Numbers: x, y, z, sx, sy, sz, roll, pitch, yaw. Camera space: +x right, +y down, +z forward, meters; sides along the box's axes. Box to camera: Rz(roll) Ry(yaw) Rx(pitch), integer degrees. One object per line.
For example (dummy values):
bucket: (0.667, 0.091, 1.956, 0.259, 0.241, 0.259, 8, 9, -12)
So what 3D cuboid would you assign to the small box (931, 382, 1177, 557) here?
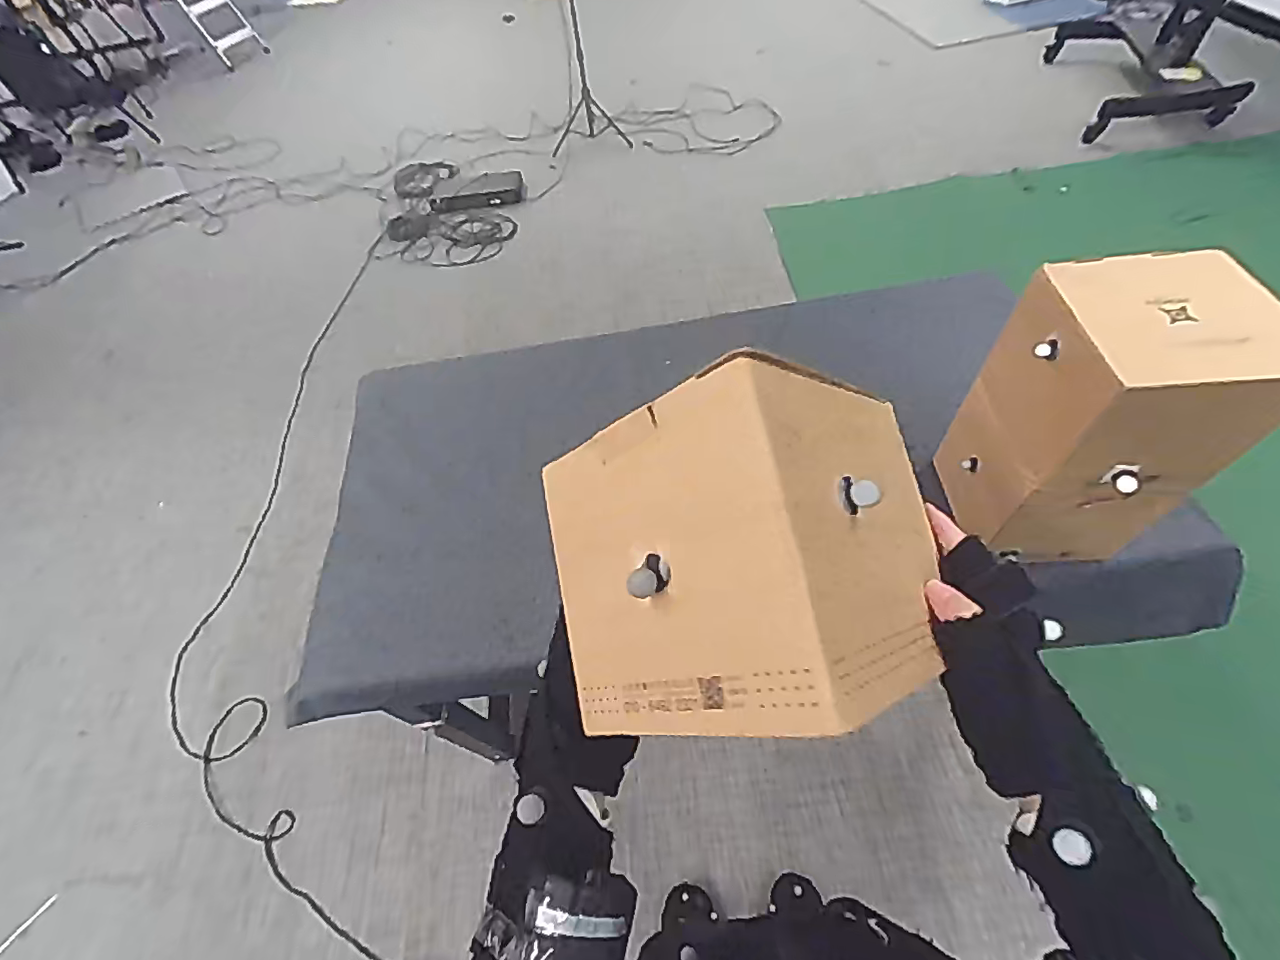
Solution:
small box: (0.504, -0.010, 0.692, 0.168, 0.176, 0.179, -3, 54, 5)

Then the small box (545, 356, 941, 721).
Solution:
small box: (0.067, 0.045, 0.348, 0.168, 0.179, 0.176, -21, 74, 41)

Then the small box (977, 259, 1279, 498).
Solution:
small box: (0.485, -0.099, 0.559, 0.168, 0.176, 0.179, -3, 56, 7)
